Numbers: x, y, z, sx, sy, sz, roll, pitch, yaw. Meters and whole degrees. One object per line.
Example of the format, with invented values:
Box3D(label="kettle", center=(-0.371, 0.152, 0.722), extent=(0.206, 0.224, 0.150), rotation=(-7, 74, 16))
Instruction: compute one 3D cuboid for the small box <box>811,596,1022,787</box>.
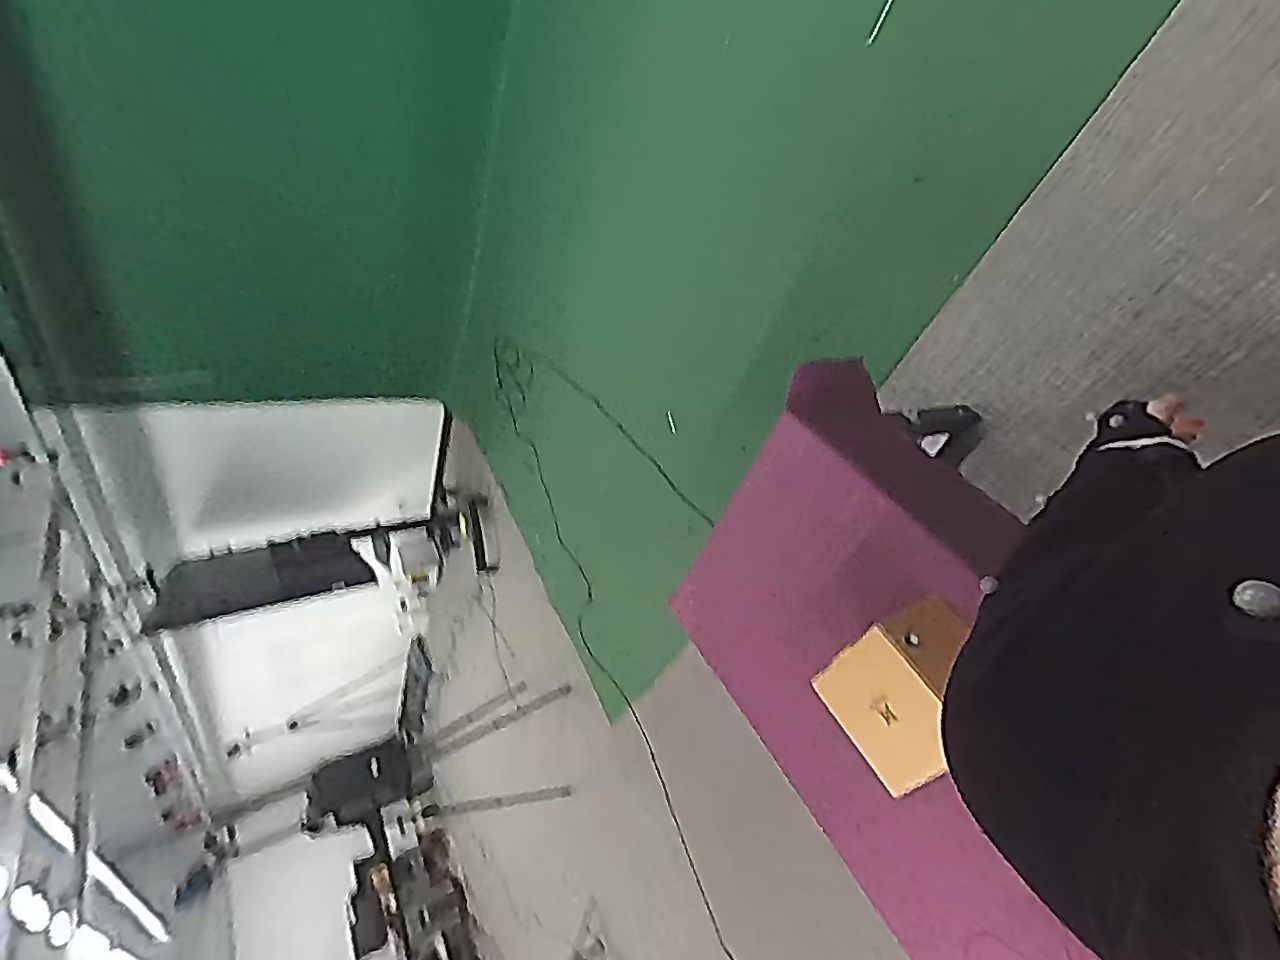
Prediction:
Box3D(label="small box", center=(0.394, 0.294, 0.777), extent=(0.179, 0.176, 0.168), rotation=(56, 137, 33))
